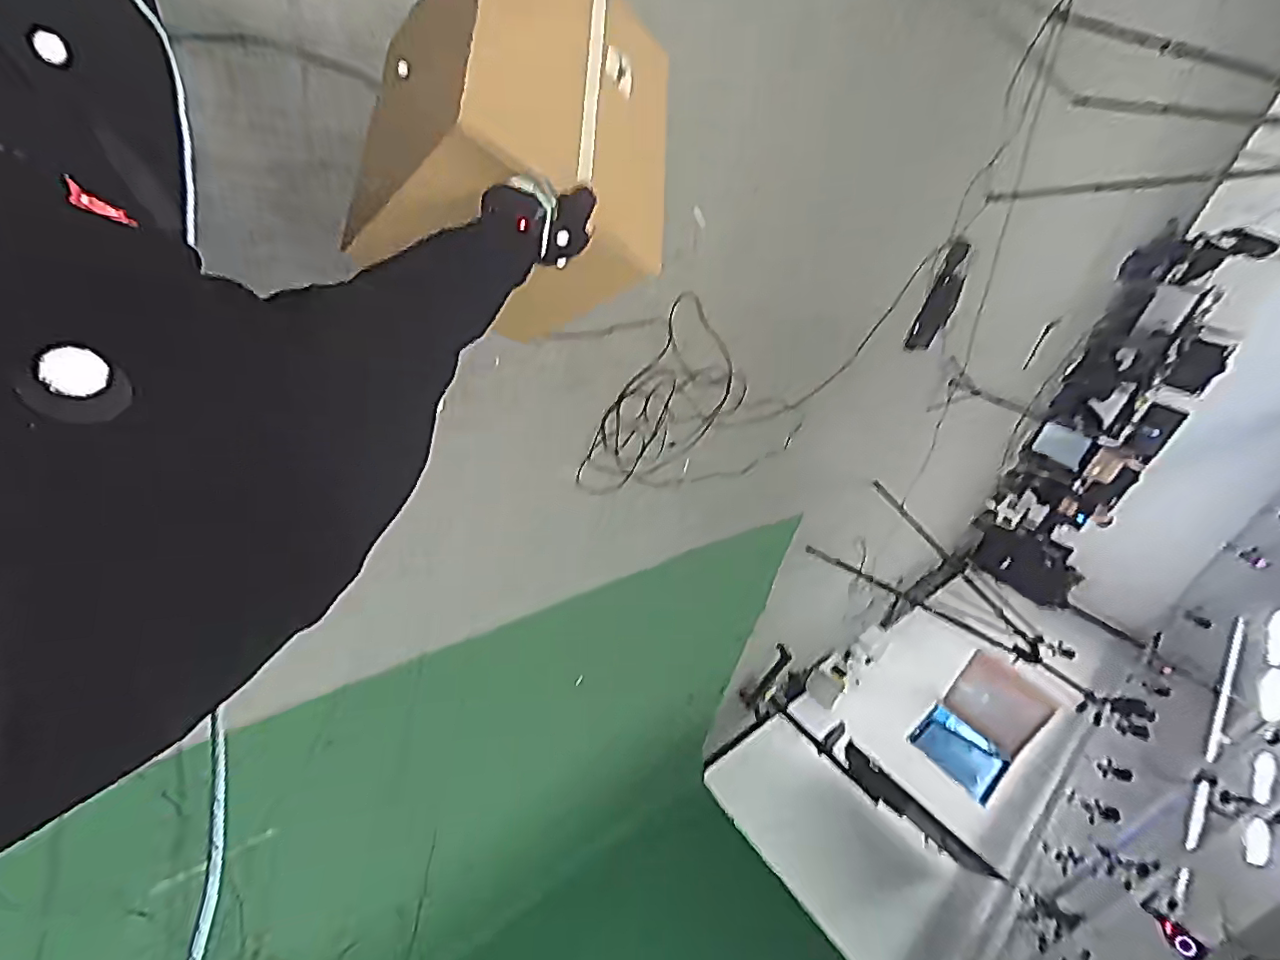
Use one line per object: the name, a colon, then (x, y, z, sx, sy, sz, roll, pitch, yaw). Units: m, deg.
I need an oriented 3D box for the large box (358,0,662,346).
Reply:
large box: (-0.181, -0.477, 0.805, 0.320, 0.320, 0.408, 18, 67, -45)
